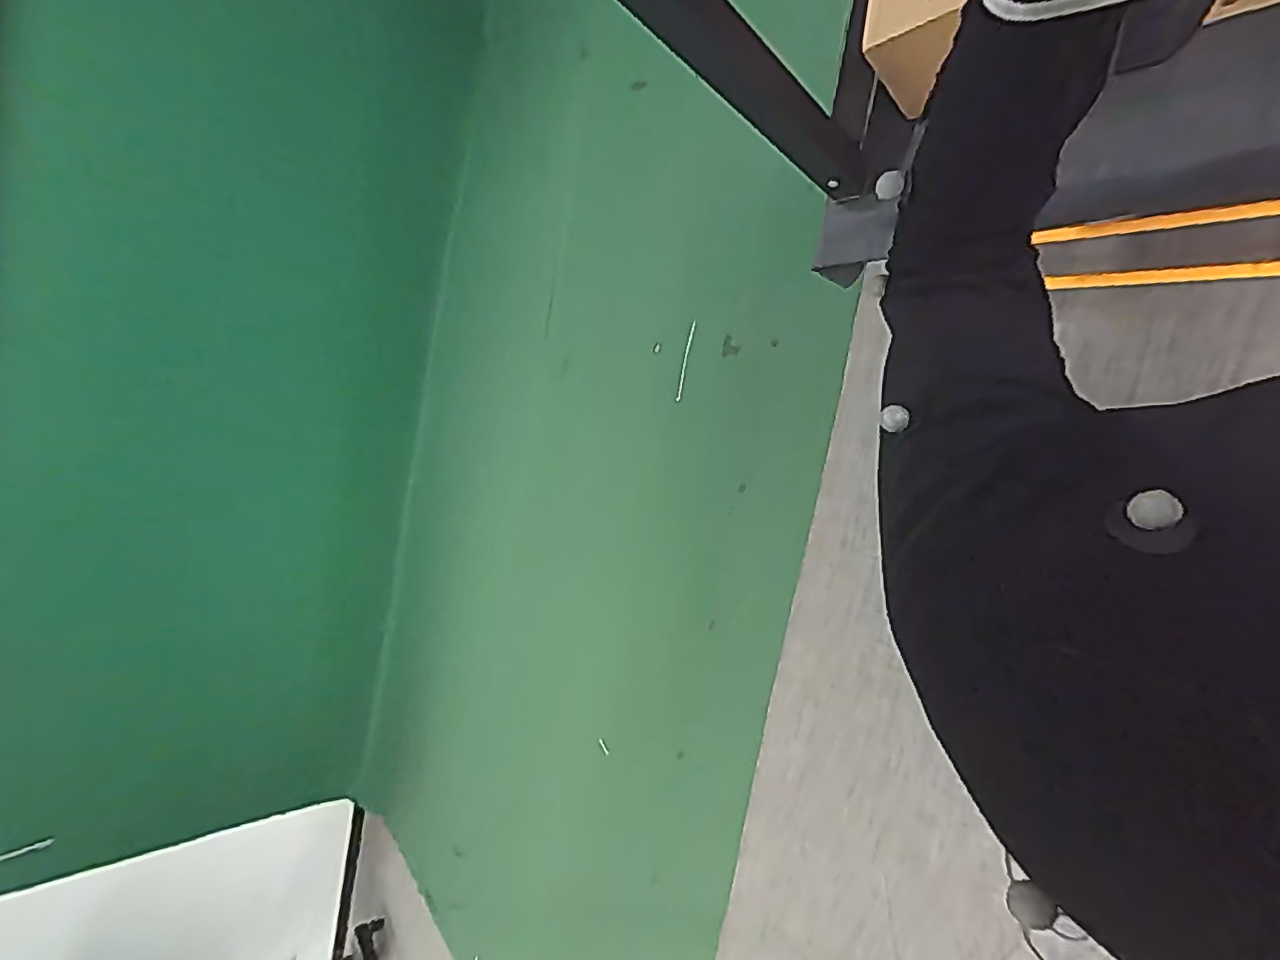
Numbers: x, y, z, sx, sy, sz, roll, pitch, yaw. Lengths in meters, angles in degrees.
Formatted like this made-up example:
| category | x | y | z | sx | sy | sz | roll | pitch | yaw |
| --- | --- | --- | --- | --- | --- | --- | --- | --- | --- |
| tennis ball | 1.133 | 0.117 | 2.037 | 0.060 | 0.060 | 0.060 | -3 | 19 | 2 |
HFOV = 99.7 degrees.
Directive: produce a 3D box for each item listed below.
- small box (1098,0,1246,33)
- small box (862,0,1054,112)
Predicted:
| category | x | y | z | sx | sy | sz | roll | pitch | yaw |
| --- | --- | --- | --- | --- | --- | --- | --- | --- | --- |
| small box | 0.565 | -0.589 | 0.524 | 0.168 | 0.176 | 0.179 | 14 | 95 | 46 |
| small box | 0.411 | -0.622 | 0.687 | 0.168 | 0.176 | 0.179 | 11 | 94 | 47 |
